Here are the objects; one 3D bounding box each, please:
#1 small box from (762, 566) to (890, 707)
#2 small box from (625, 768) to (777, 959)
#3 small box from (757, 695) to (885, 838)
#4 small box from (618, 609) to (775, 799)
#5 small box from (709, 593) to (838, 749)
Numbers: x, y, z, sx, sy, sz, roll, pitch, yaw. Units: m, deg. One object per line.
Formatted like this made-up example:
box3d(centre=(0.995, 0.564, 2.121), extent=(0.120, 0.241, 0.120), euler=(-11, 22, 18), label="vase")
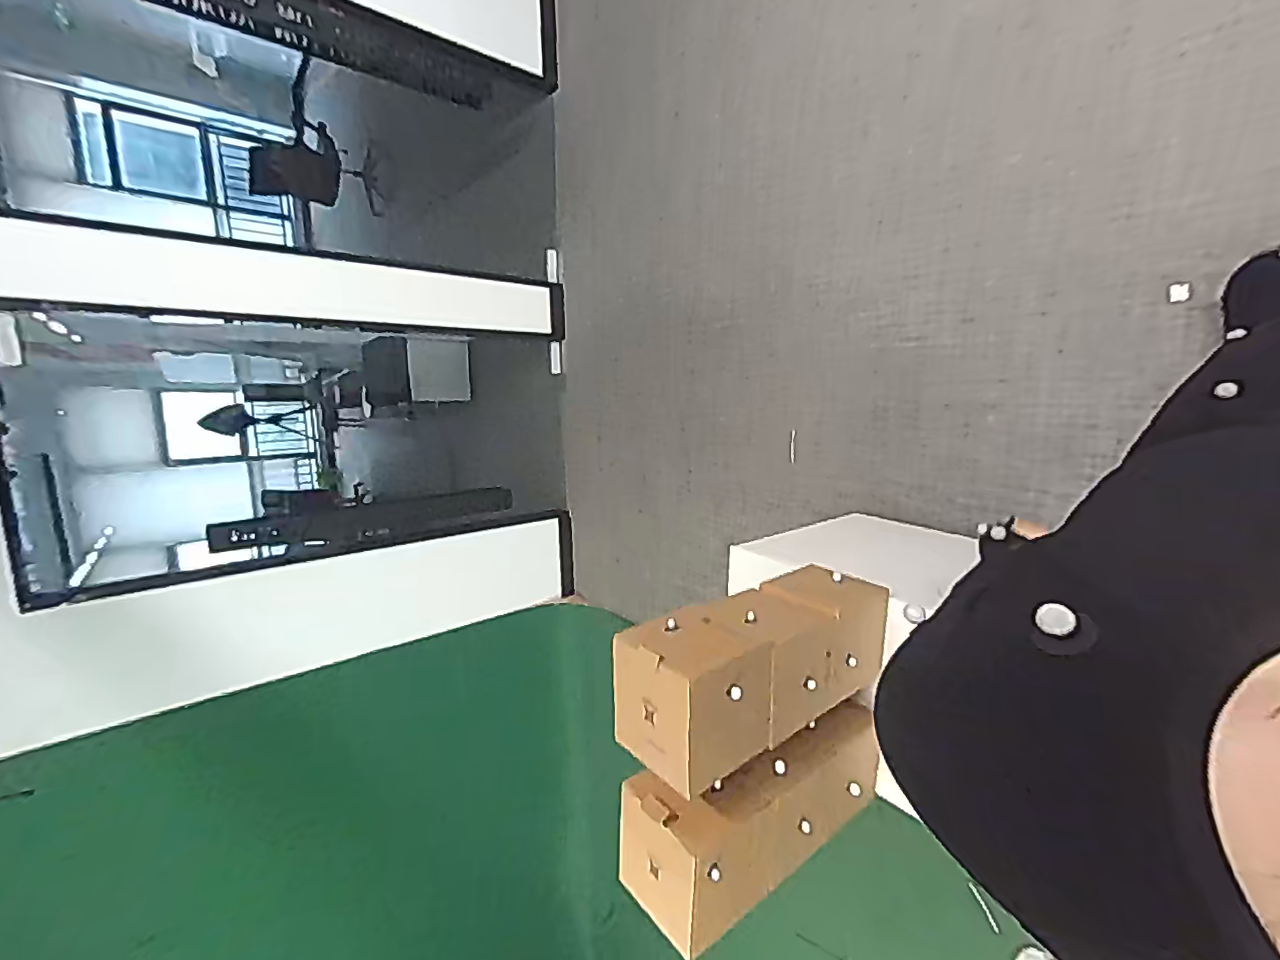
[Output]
box3d(centre=(0.340, 0.276, 1.000), extent=(0.168, 0.176, 0.179), euler=(13, 107, 49), label="small box")
box3d(centre=(0.093, 0.553, 0.829), extent=(0.168, 0.176, 0.179), euler=(13, 105, 50), label="small box")
box3d(centre=(0.346, 0.521, 1.034), extent=(0.168, 0.176, 0.179), euler=(13, 104, 49), label="small box")
box3d(centre=(0.084, 0.311, 0.798), extent=(0.168, 0.176, 0.179), euler=(12, 107, 49), label="small box")
box3d(centre=(0.211, 0.301, 0.900), extent=(0.179, 0.176, 0.168), euler=(9, 103, 50), label="small box")
